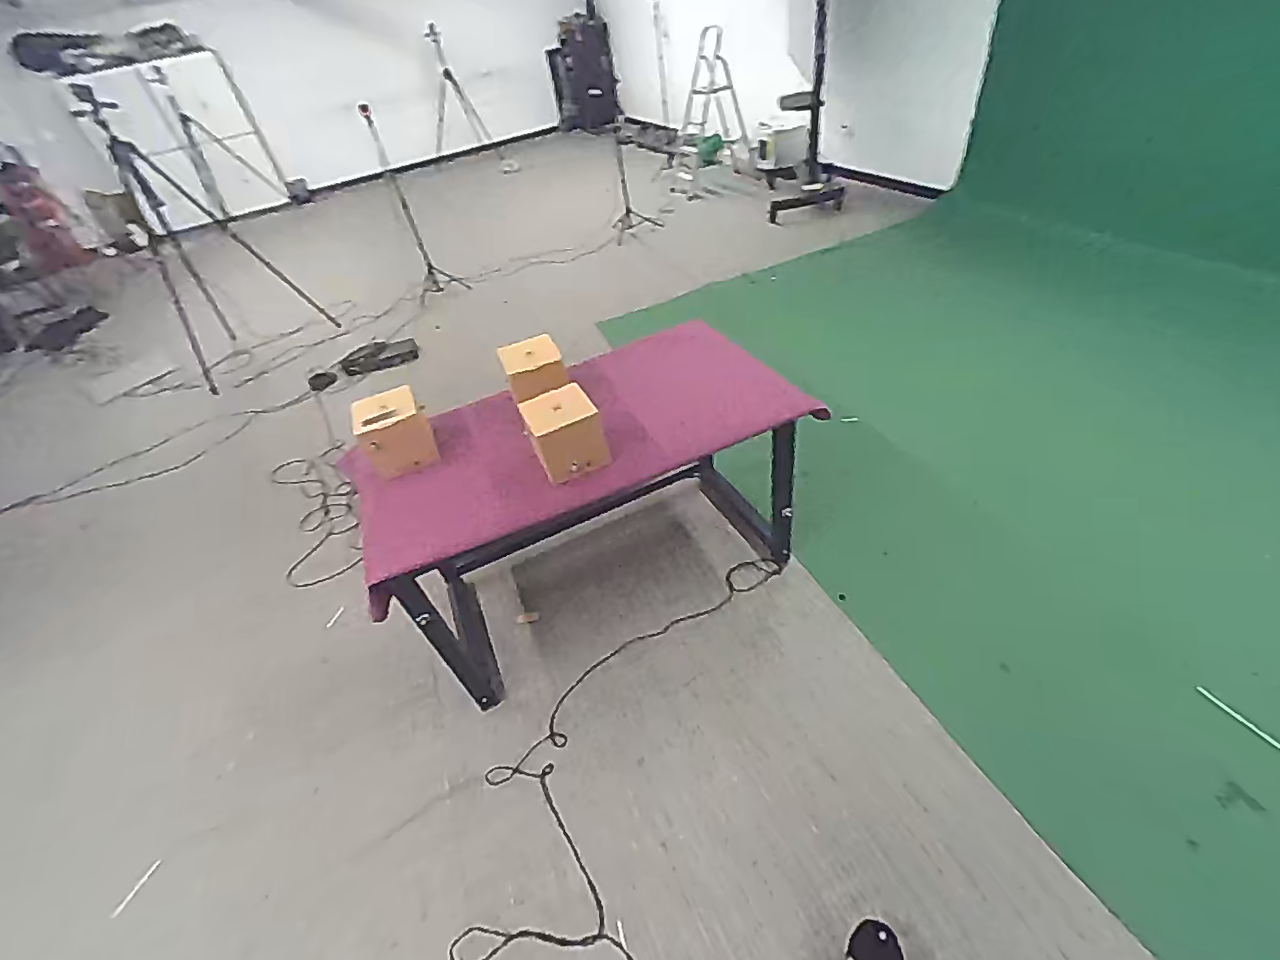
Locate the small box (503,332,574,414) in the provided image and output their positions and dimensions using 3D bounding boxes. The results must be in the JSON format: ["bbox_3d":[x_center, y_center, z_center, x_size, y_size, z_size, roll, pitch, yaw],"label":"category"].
[{"bbox_3d":[-0.301,-0.319,1.648,0.168,0.176,0.179,-22,45,-10],"label":"small box"}]

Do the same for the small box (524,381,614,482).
[{"bbox_3d":[-0.184,-0.126,1.412,0.168,0.176,0.179,-24,43,-10],"label":"small box"}]
